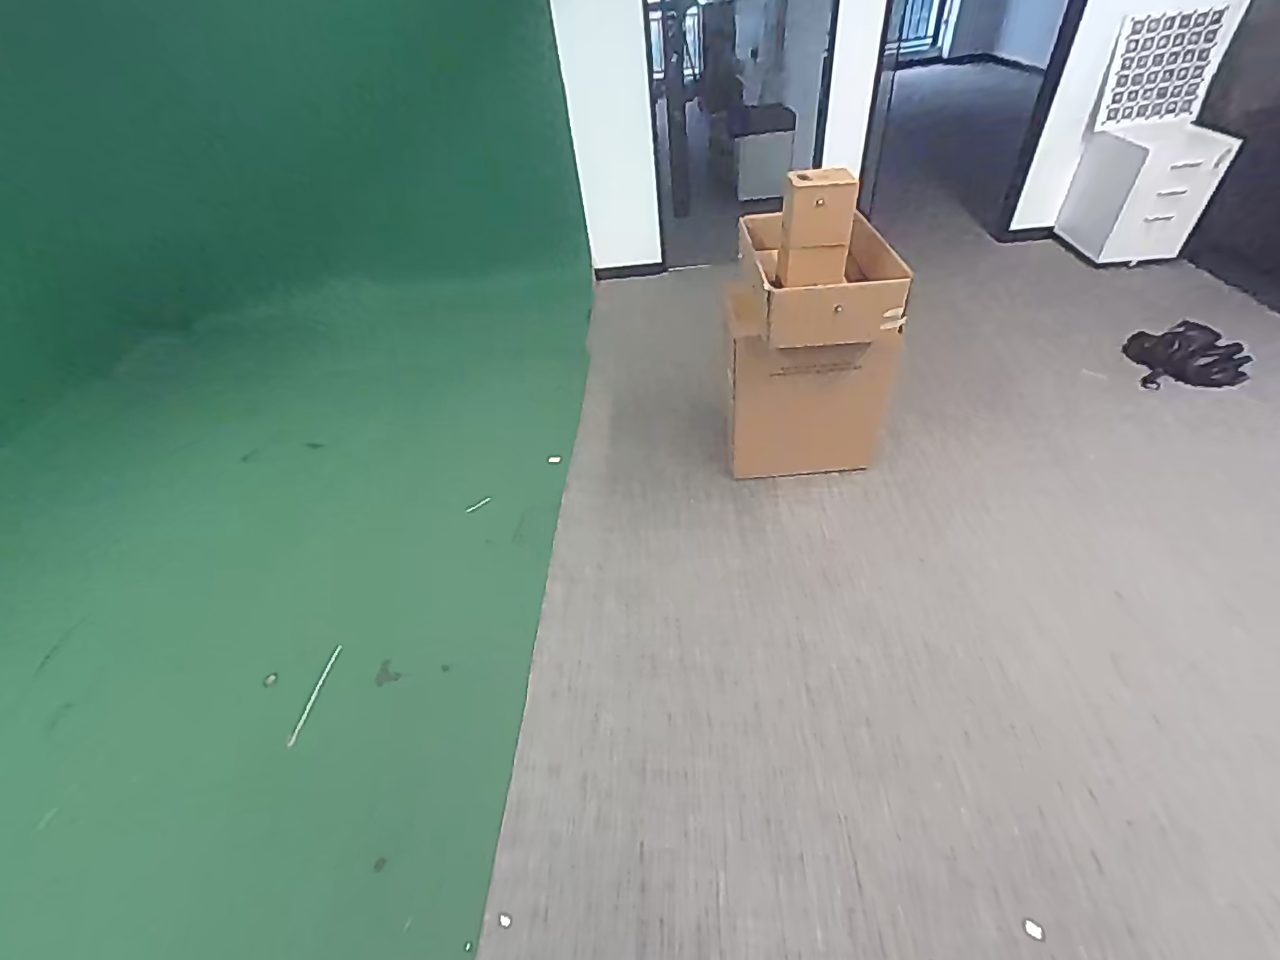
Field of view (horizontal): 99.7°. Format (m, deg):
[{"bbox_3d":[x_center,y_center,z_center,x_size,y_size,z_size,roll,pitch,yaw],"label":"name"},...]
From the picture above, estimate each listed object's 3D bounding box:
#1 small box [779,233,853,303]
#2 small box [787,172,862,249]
[{"bbox_3d":[0.549,-0.674,1.711,0.179,0.176,0.168,-3,41,3],"label":"small box"},{"bbox_3d":[0.536,-0.793,1.599,0.179,0.176,0.168,-1,42,5],"label":"small box"}]
